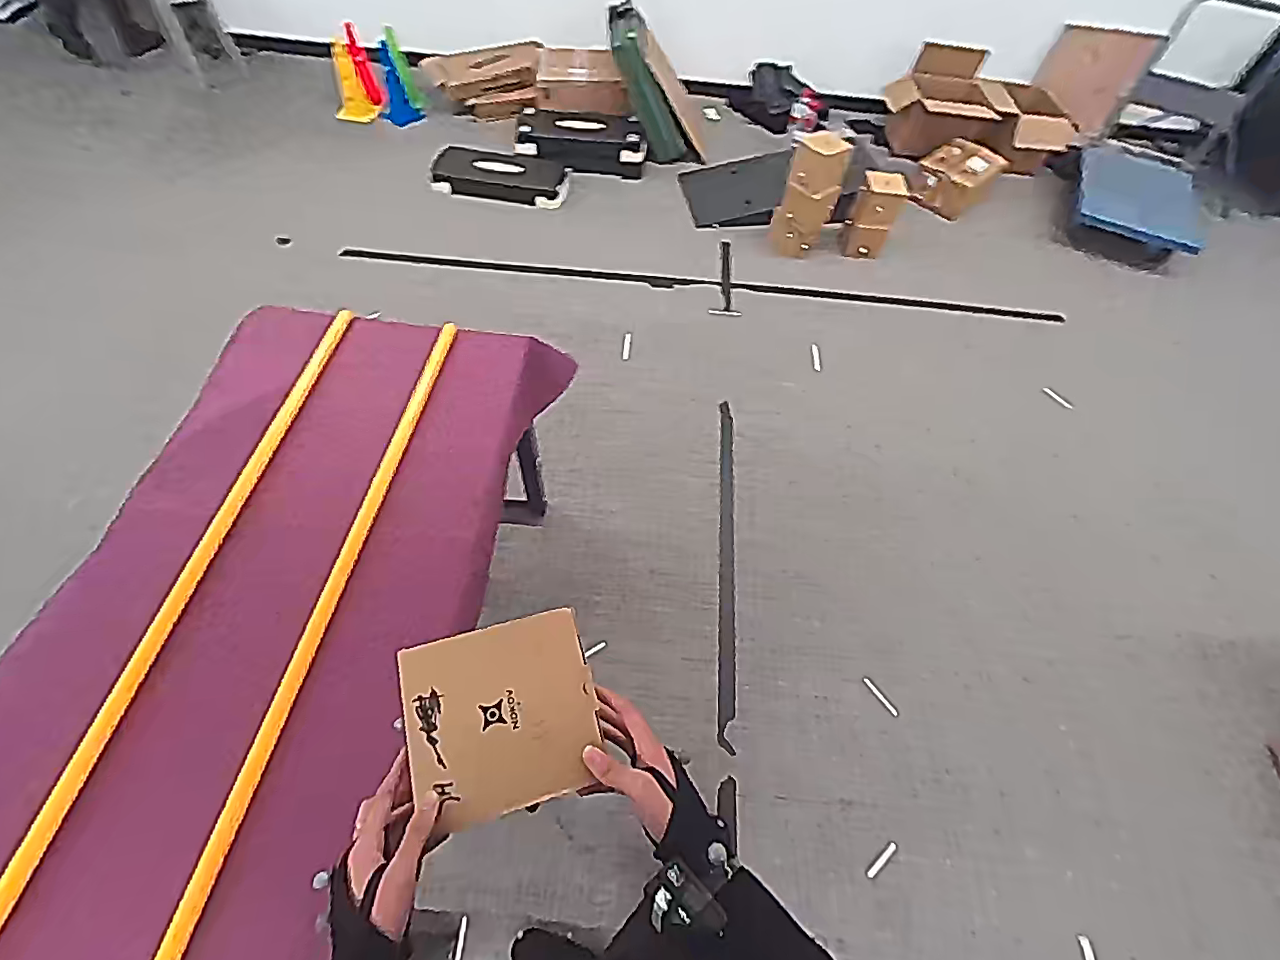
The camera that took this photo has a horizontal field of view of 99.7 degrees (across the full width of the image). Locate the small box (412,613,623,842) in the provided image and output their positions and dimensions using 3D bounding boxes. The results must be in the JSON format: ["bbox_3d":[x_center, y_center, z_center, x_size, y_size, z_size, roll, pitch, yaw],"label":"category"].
[{"bbox_3d":[-0.128,0.254,0.581,0.179,0.176,0.168,-11,68,-12],"label":"small box"}]
